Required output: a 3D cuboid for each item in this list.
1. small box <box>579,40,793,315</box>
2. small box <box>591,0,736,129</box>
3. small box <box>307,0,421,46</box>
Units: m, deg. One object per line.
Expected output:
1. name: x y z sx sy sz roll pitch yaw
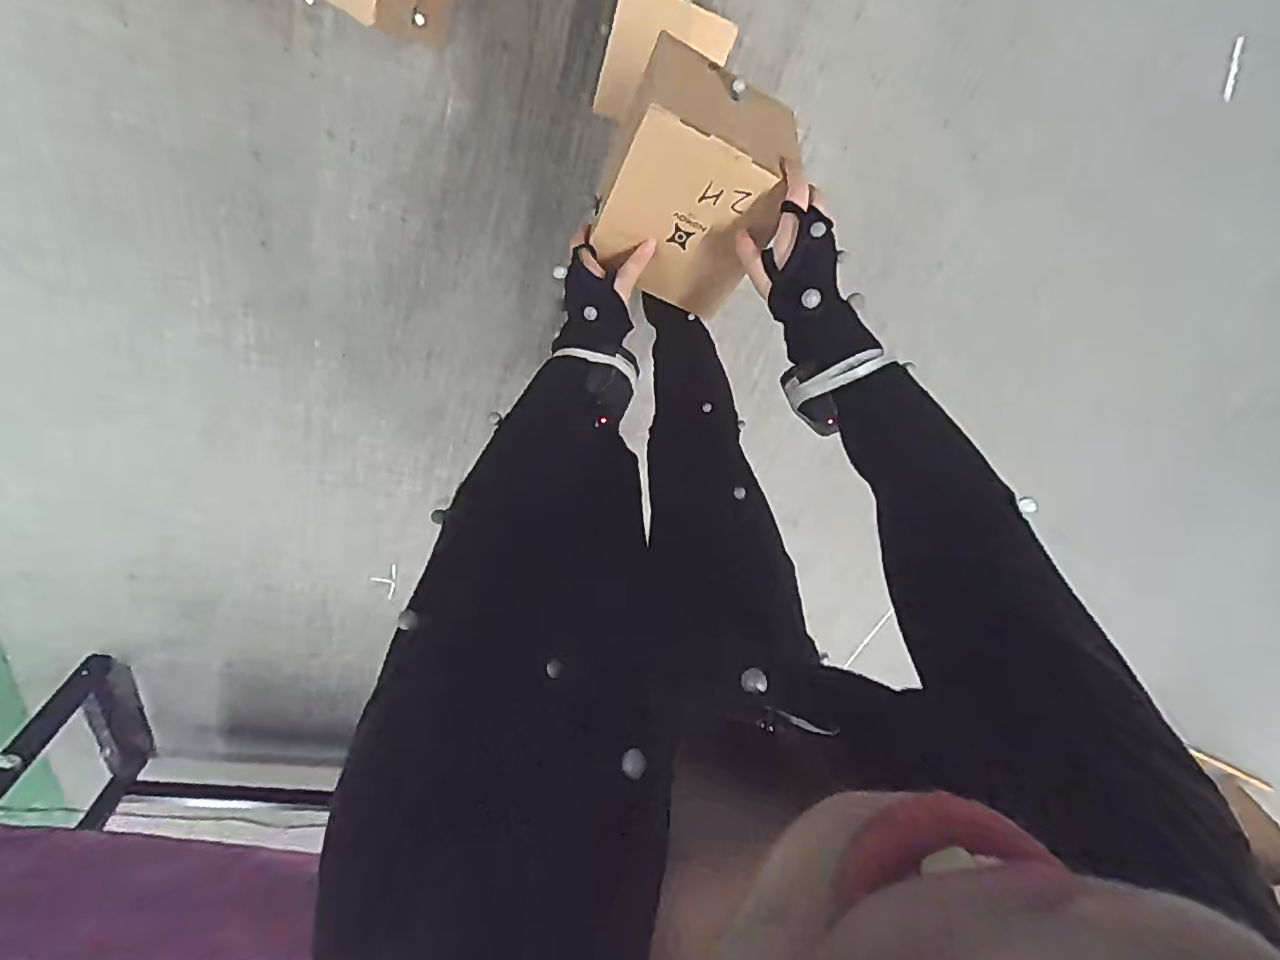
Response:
1. small box: 0.047 -0.327 0.600 0.168 0.176 0.179 18 143 -18
2. small box: 0.025 -0.643 0.868 0.179 0.176 0.168 13 121 -15
3. small box: -0.351 -0.646 0.629 0.179 0.176 0.168 22 118 -17
